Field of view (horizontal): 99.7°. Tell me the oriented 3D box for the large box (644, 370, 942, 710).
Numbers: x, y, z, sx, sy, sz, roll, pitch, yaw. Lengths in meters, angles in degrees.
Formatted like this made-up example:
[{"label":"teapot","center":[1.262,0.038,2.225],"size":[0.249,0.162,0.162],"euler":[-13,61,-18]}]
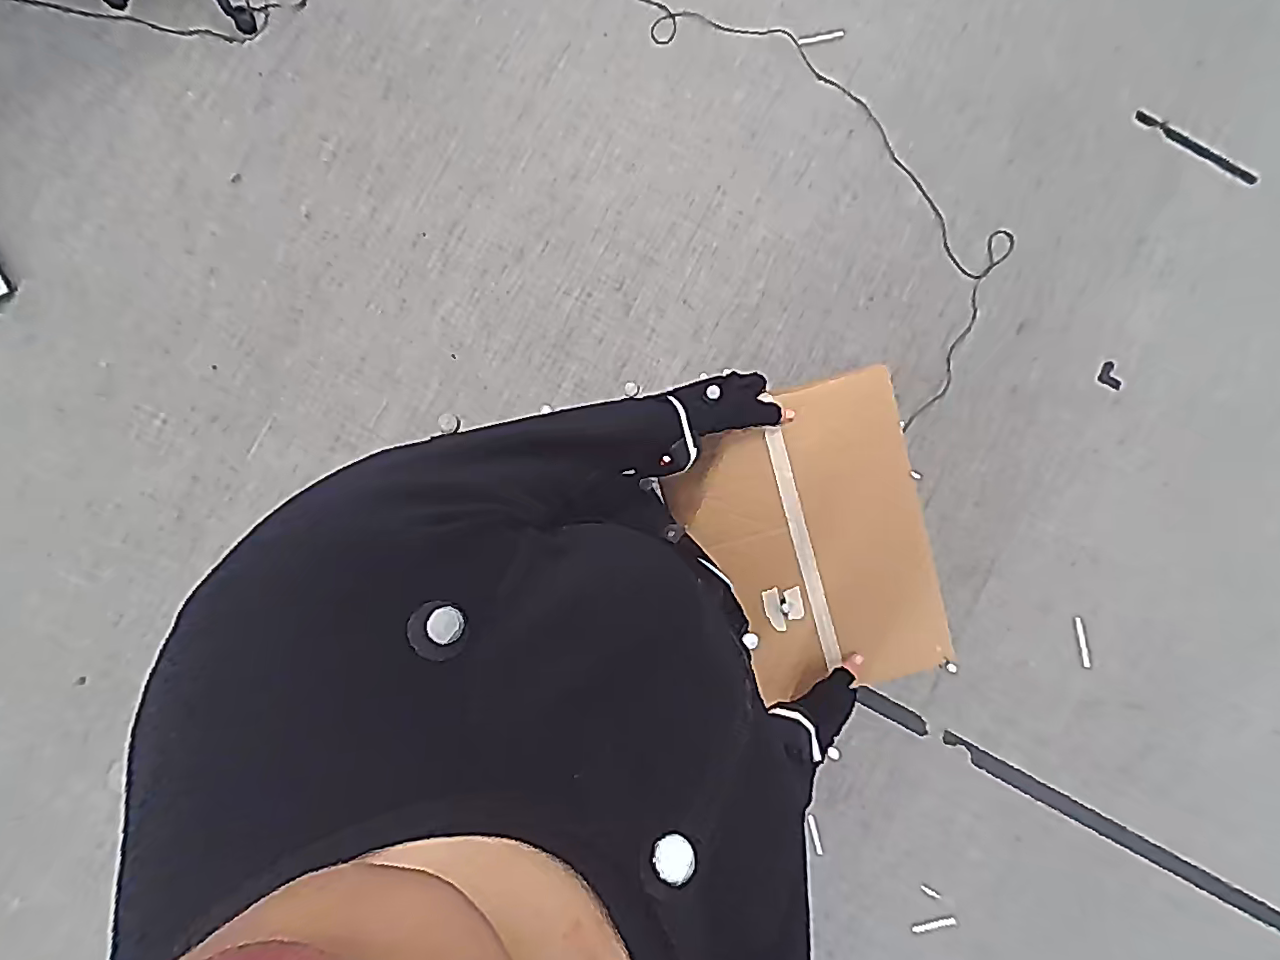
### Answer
[{"label":"large box","center":[0.208,0.069,0.861],"size":[0.320,0.320,0.408],"euler":[-16,97,3]}]
